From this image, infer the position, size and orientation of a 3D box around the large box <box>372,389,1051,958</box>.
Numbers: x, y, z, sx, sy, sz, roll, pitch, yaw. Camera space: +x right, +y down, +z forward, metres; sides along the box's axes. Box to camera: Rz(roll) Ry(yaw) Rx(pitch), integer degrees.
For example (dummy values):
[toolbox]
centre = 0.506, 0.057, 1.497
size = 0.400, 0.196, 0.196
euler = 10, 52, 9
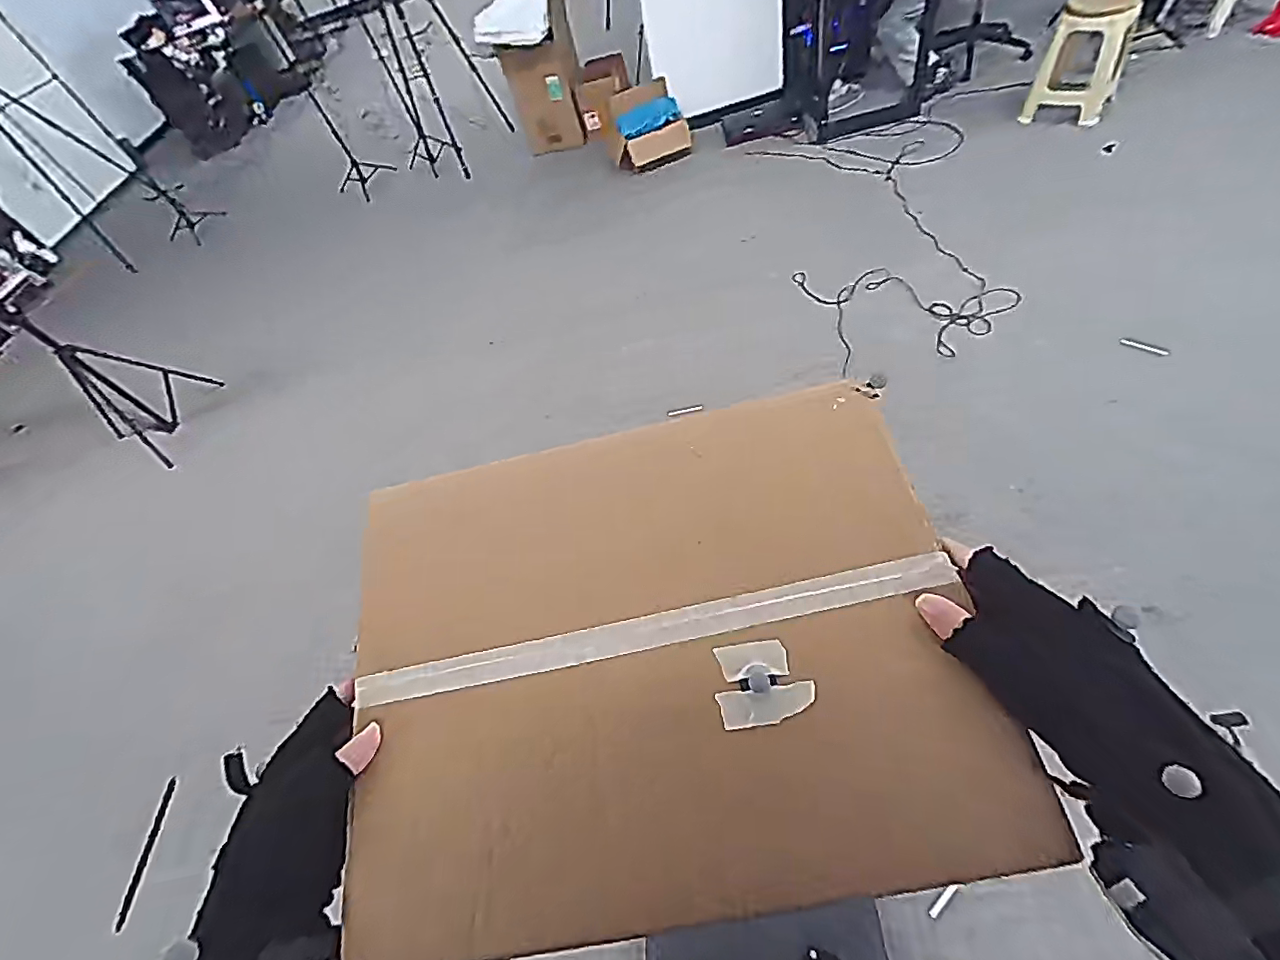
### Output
[large box]
centre = 0.031, 0.168, 0.505
size = 0.408, 0.320, 0.320
euler = -12, 64, 4
